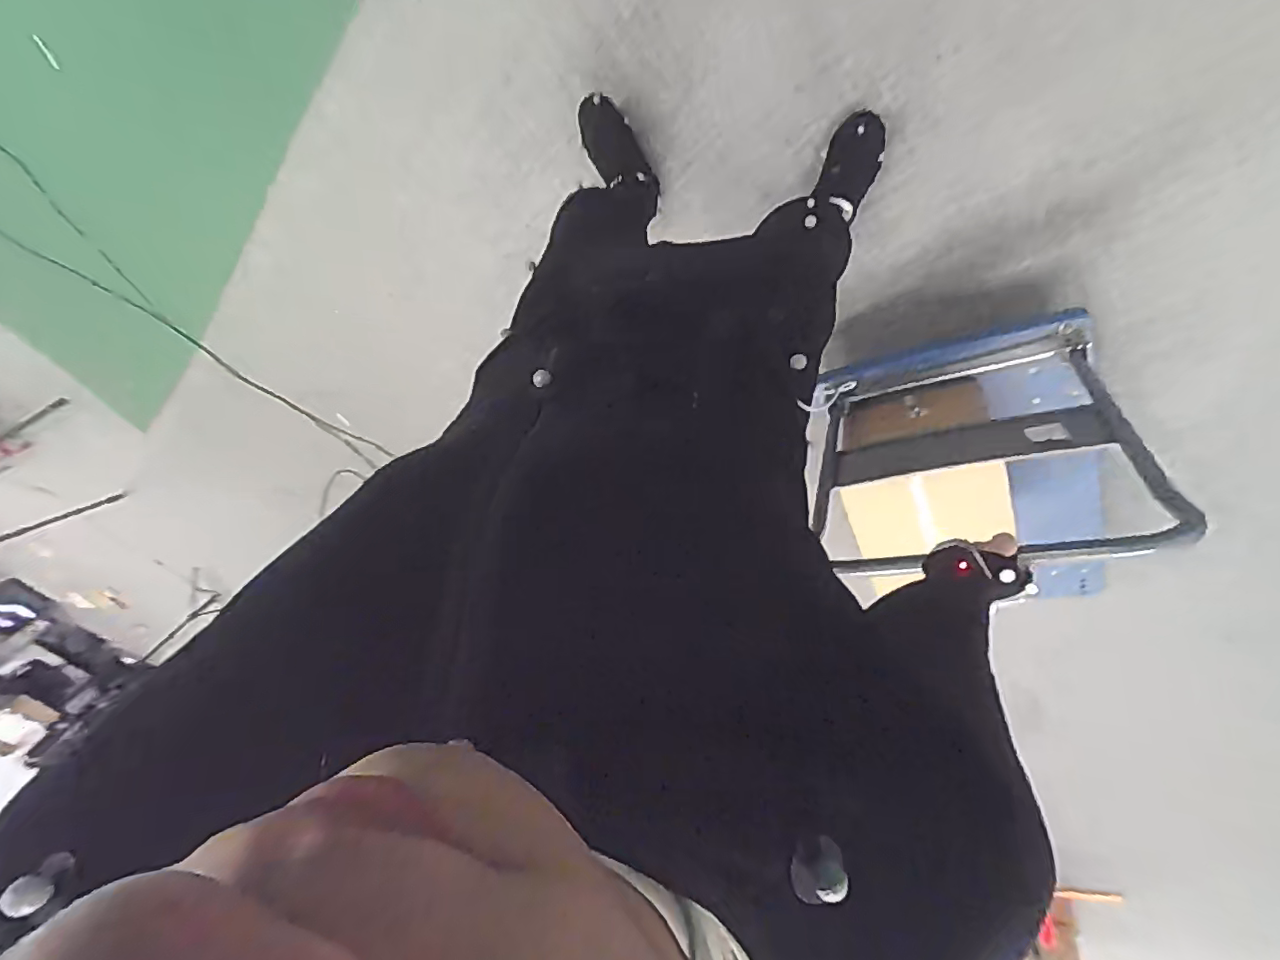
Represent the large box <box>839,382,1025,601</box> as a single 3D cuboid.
[{"bbox_3d":[0.698,0.036,1.319,0.320,0.320,0.408,-12,123,30],"label":"large box"}]
